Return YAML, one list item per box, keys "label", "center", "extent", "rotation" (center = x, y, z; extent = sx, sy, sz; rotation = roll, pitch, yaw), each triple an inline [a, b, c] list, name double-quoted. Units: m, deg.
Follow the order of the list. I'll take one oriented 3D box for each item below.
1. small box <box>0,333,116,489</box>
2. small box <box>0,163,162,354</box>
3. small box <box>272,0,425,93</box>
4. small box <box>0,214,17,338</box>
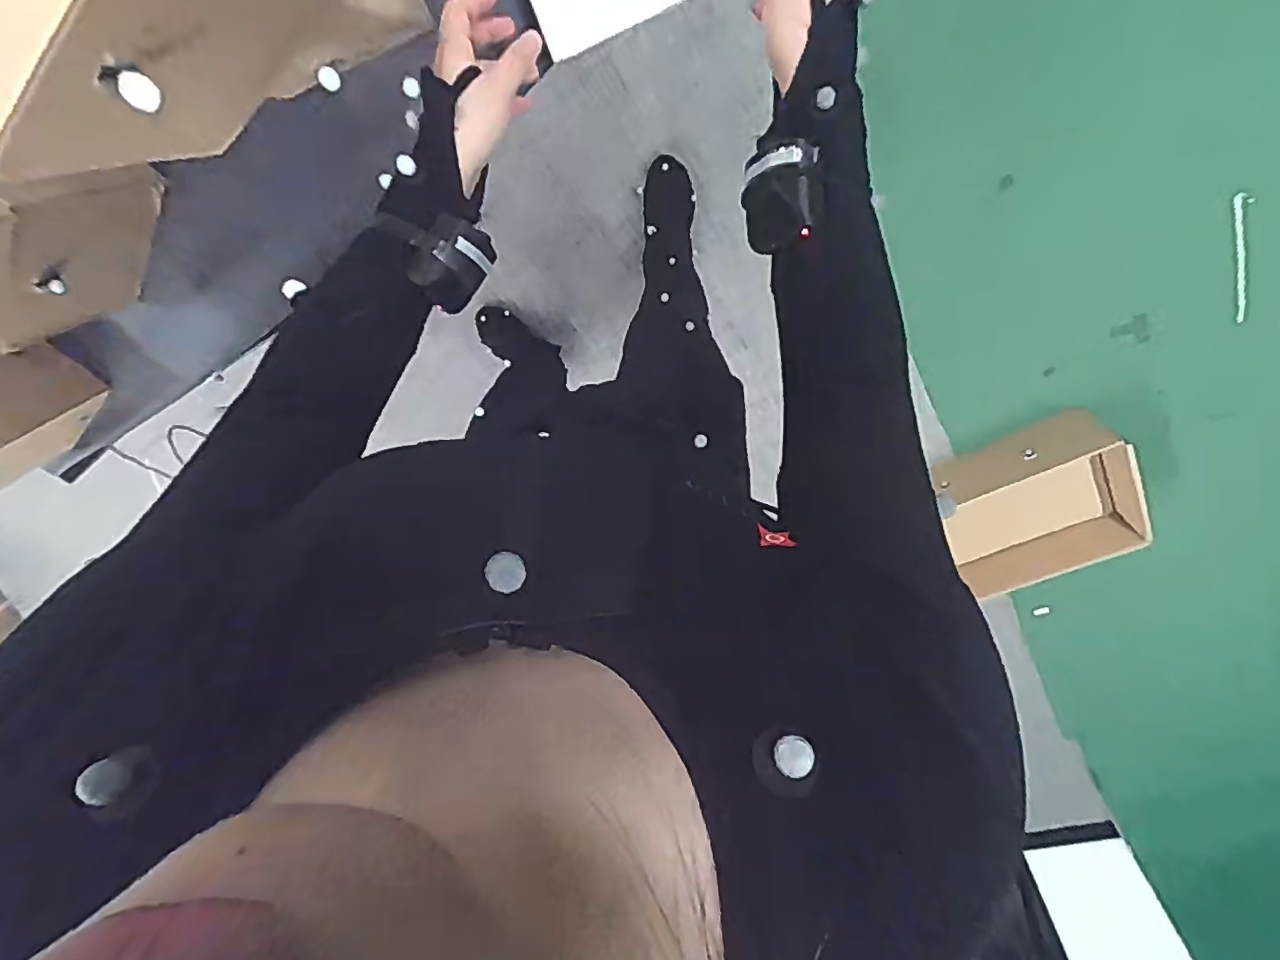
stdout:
- label: "small box"
  center: [-0.819, -0.095, 0.656]
  extent: [0.168, 0.176, 0.179]
  rotation: [-31, 119, 25]
- label: "small box"
  center: [-0.609, -0.261, 0.512]
  extent: [0.168, 0.176, 0.179]
  rotation: [34, 123, -21]
- label: "small box"
  center: [-0.289, -0.396, 0.378]
  extent: [0.168, 0.176, 0.179]
  rotation: [-12, 126, 15]
- label: "small box"
  center: [-0.619, -0.159, 0.384]
  extent: [0.168, 0.176, 0.179]
  rotation: [37, 122, -22]
